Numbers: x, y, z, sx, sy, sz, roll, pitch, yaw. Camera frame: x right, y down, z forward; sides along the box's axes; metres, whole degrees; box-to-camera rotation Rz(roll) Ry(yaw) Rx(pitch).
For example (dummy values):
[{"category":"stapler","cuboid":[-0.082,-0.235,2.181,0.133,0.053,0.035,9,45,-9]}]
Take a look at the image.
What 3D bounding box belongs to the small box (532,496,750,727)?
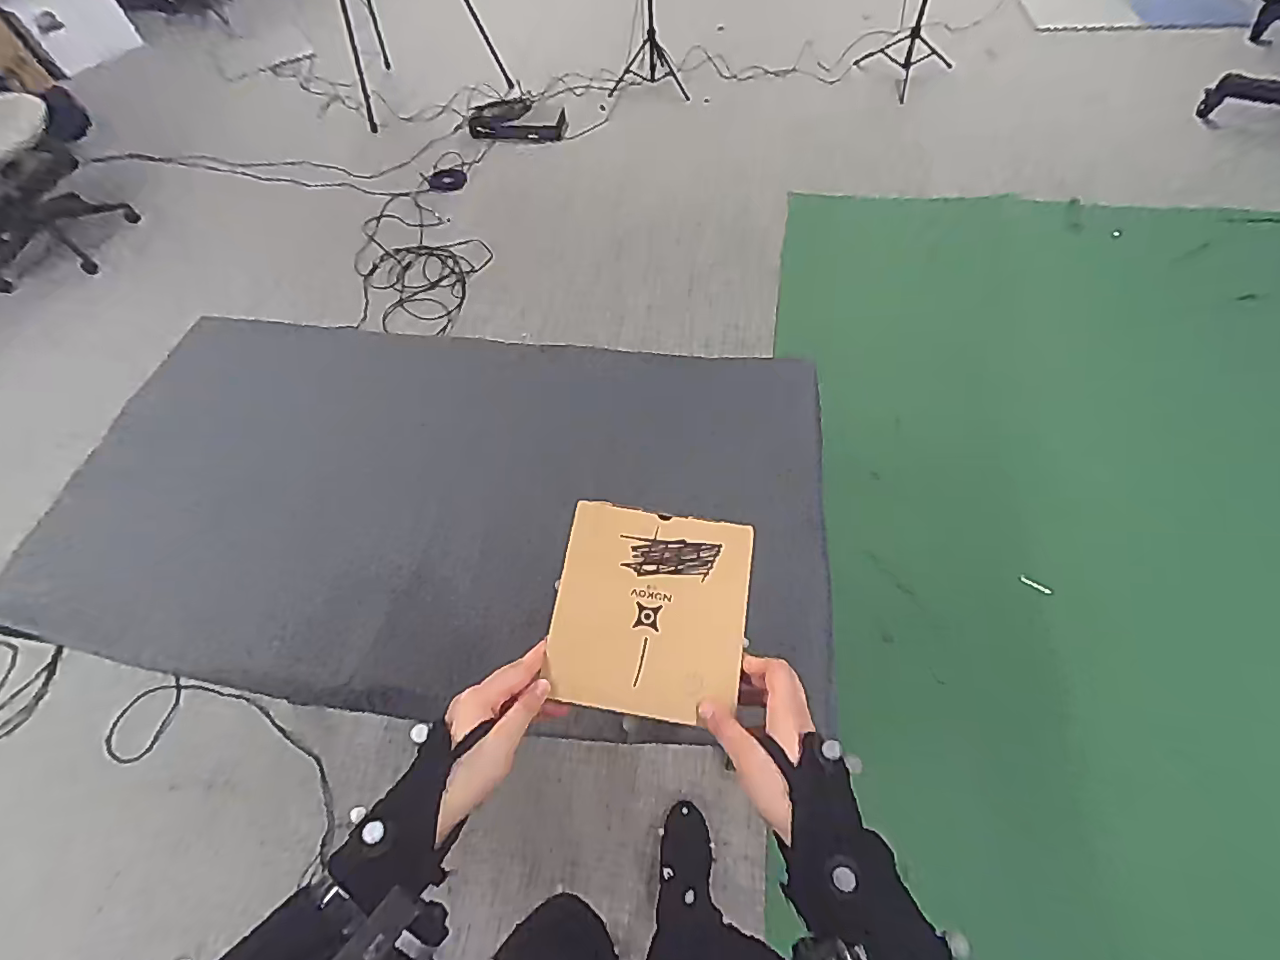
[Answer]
[{"category":"small box","cuboid":[0.007,0.135,0.538,0.168,0.176,0.179,8,68,6]}]
